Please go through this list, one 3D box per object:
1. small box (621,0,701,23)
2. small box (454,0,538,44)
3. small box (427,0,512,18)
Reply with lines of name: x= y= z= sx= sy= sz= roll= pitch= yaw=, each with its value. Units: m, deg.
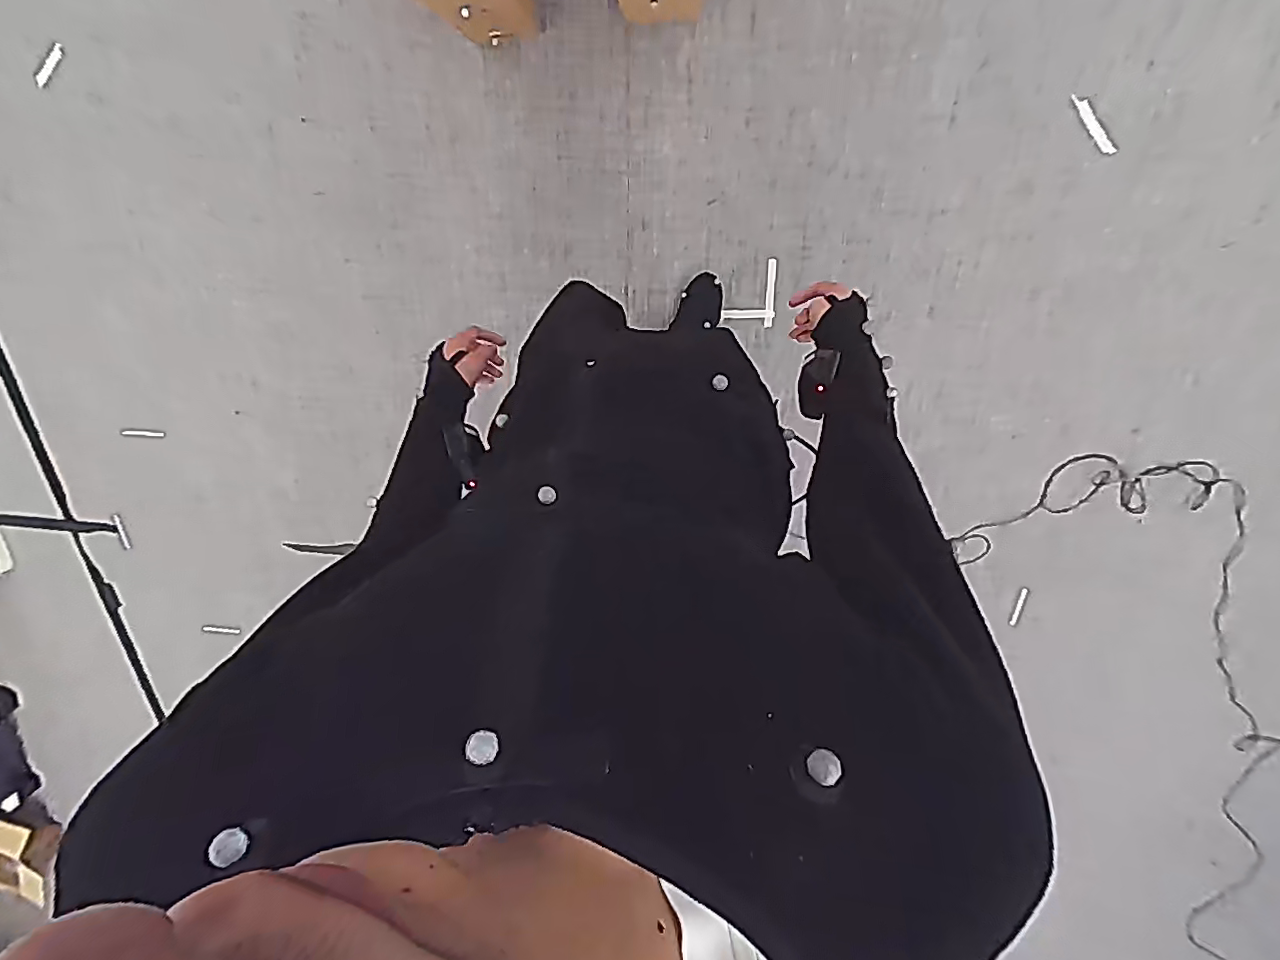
small box: x=0.046 y=-1.100 z=1.143 sx=0.179 sy=0.176 sz=0.168 roll=4 pitch=113 yaw=4
small box: x=-0.333 y=-1.101 z=1.185 sx=0.168 sy=0.176 sz=0.179 roll=-2 pitch=113 yaw=8
small box: x=-0.358 y=-1.033 z=1.038 sx=0.168 sy=0.176 sz=0.179 roll=0 pitch=113 yaw=7
